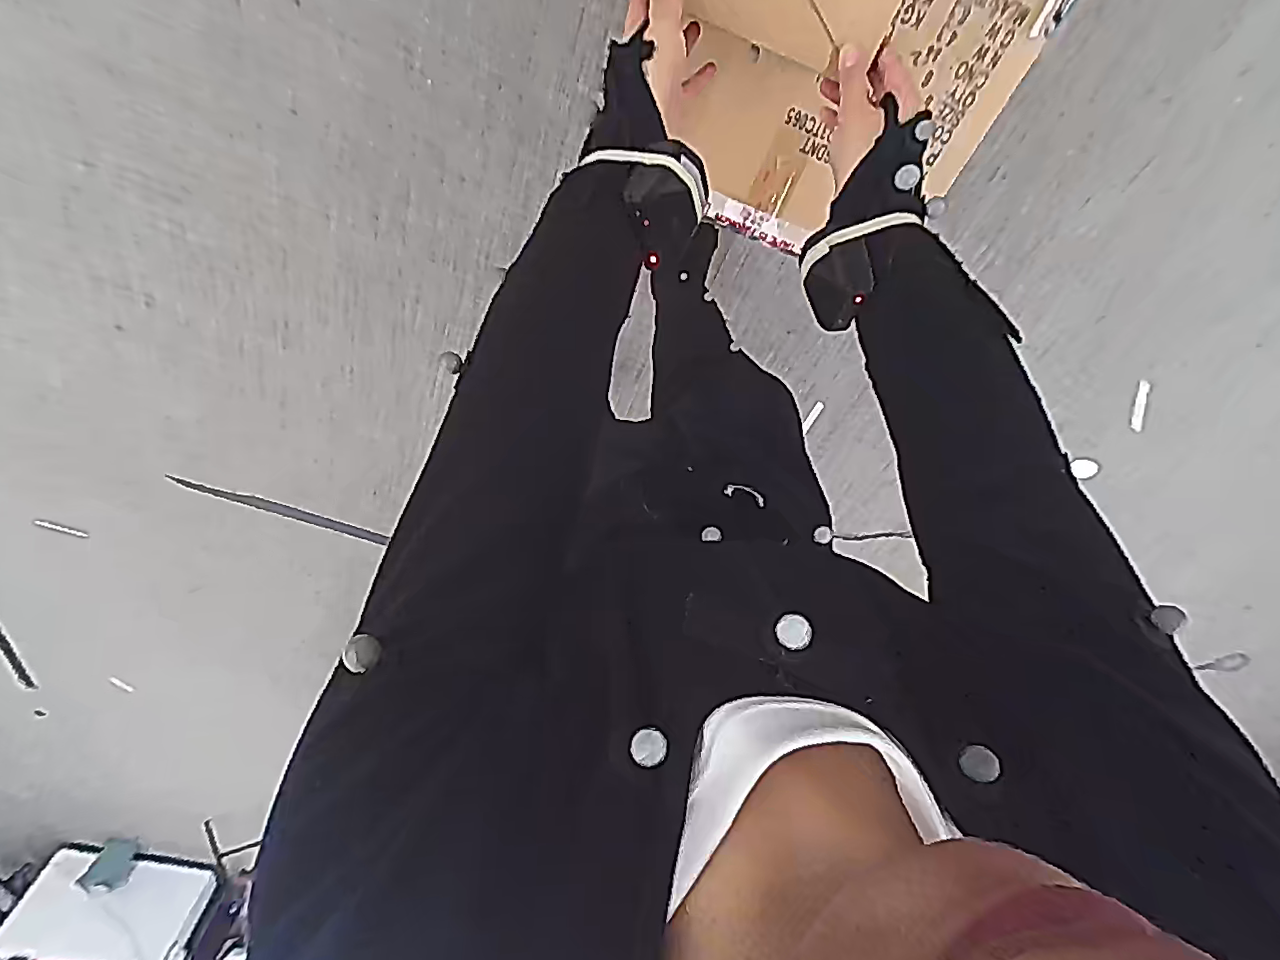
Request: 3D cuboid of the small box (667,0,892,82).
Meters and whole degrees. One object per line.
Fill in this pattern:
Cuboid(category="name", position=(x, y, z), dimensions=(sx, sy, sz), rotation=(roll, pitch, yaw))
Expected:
Cuboid(category="small box", position=(0.120, -0.440, 0.420), dimensions=(0.179, 0.176, 0.168), rotation=(17, 131, -9))
